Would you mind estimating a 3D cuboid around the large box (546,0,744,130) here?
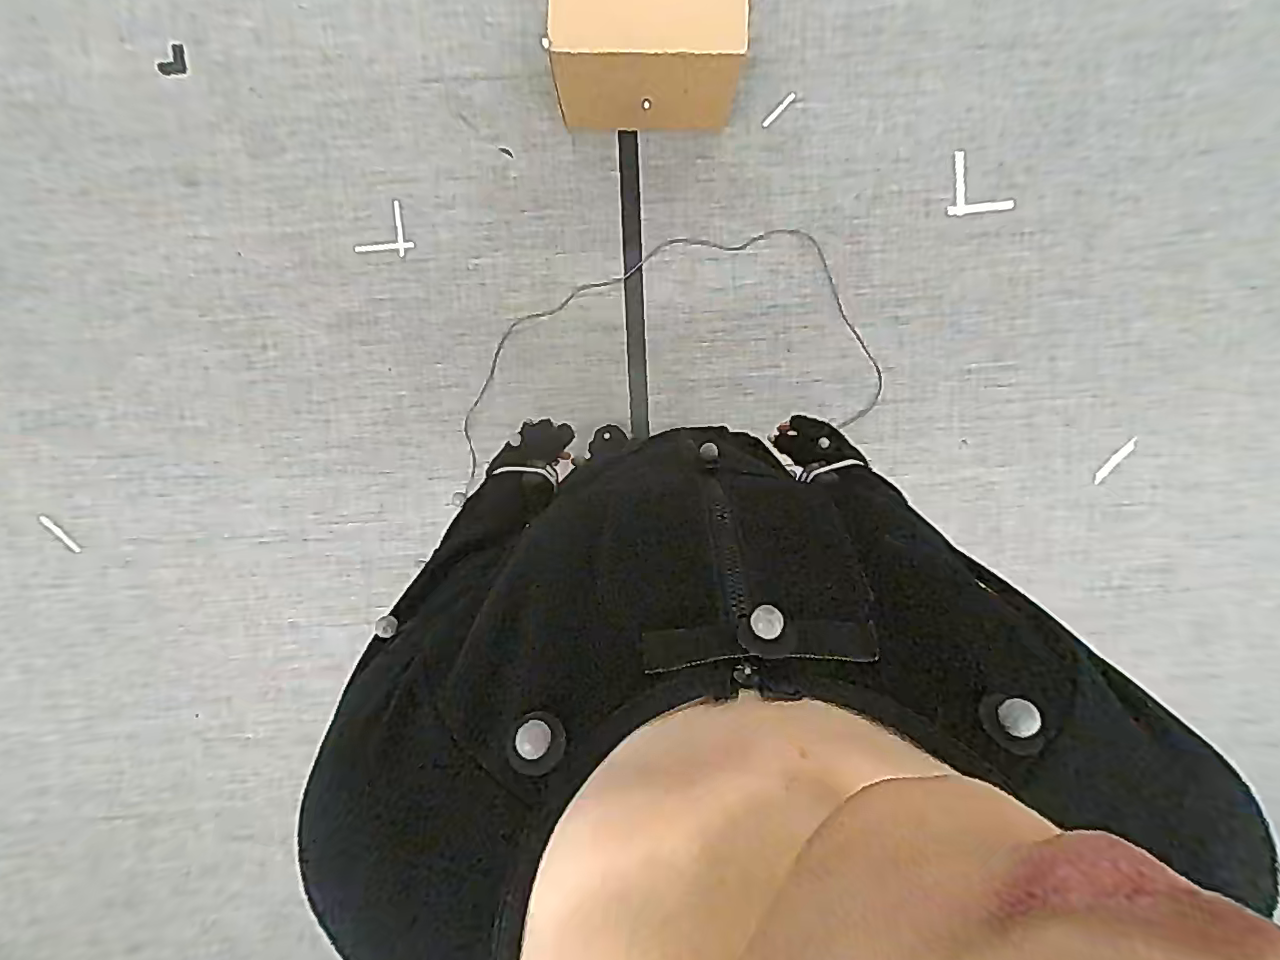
[{"bbox_3d":[0.010,-1.032,1.225,0.408,0.320,0.320,0,96,0],"label":"large box"}]
